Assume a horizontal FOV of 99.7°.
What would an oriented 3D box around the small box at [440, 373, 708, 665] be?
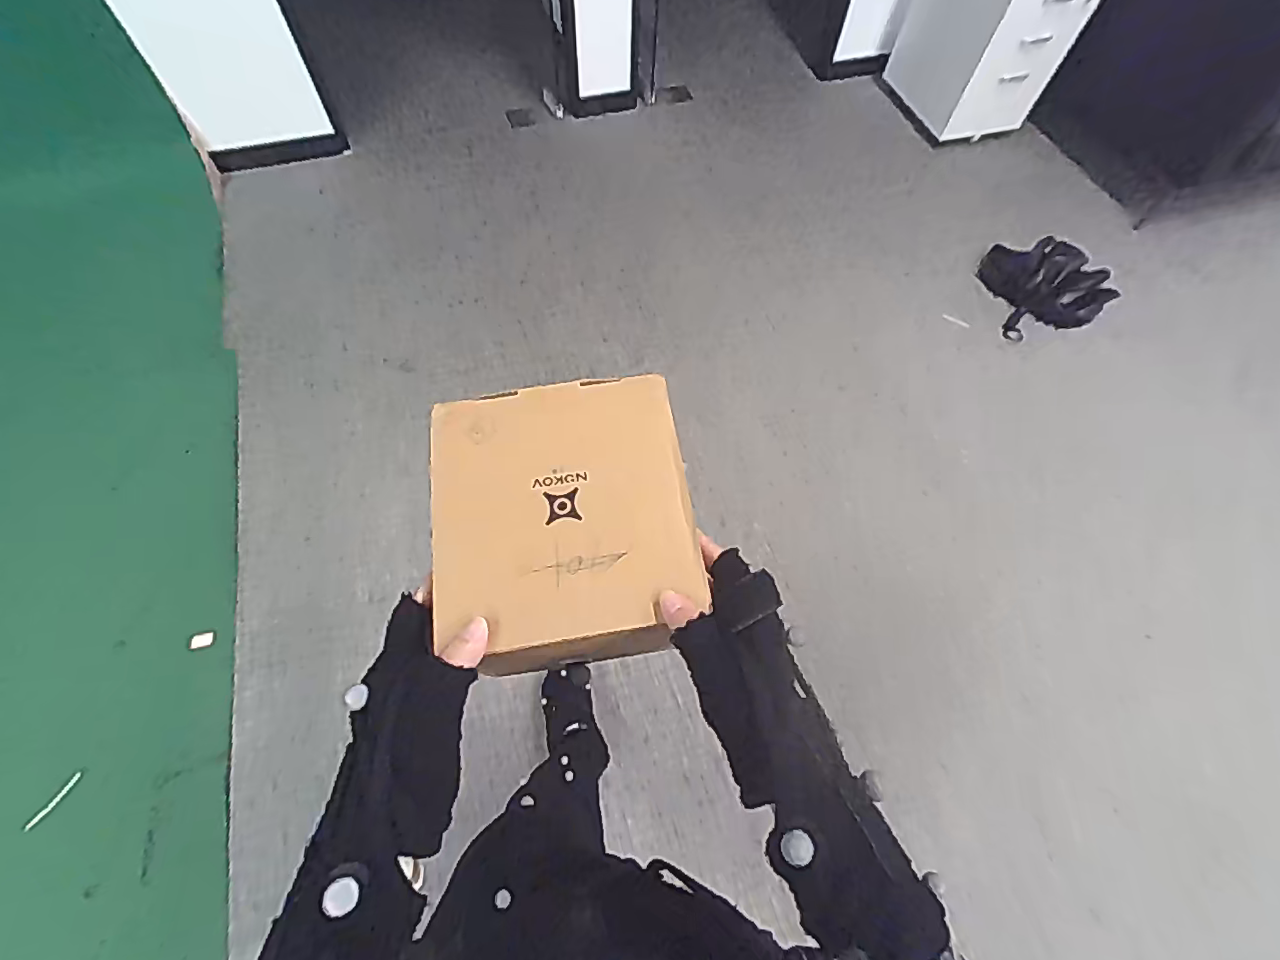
[{"bbox_3d":[-0.051,0.041,0.433,0.168,0.176,0.179,-8,67,-4],"label":"small box"}]
